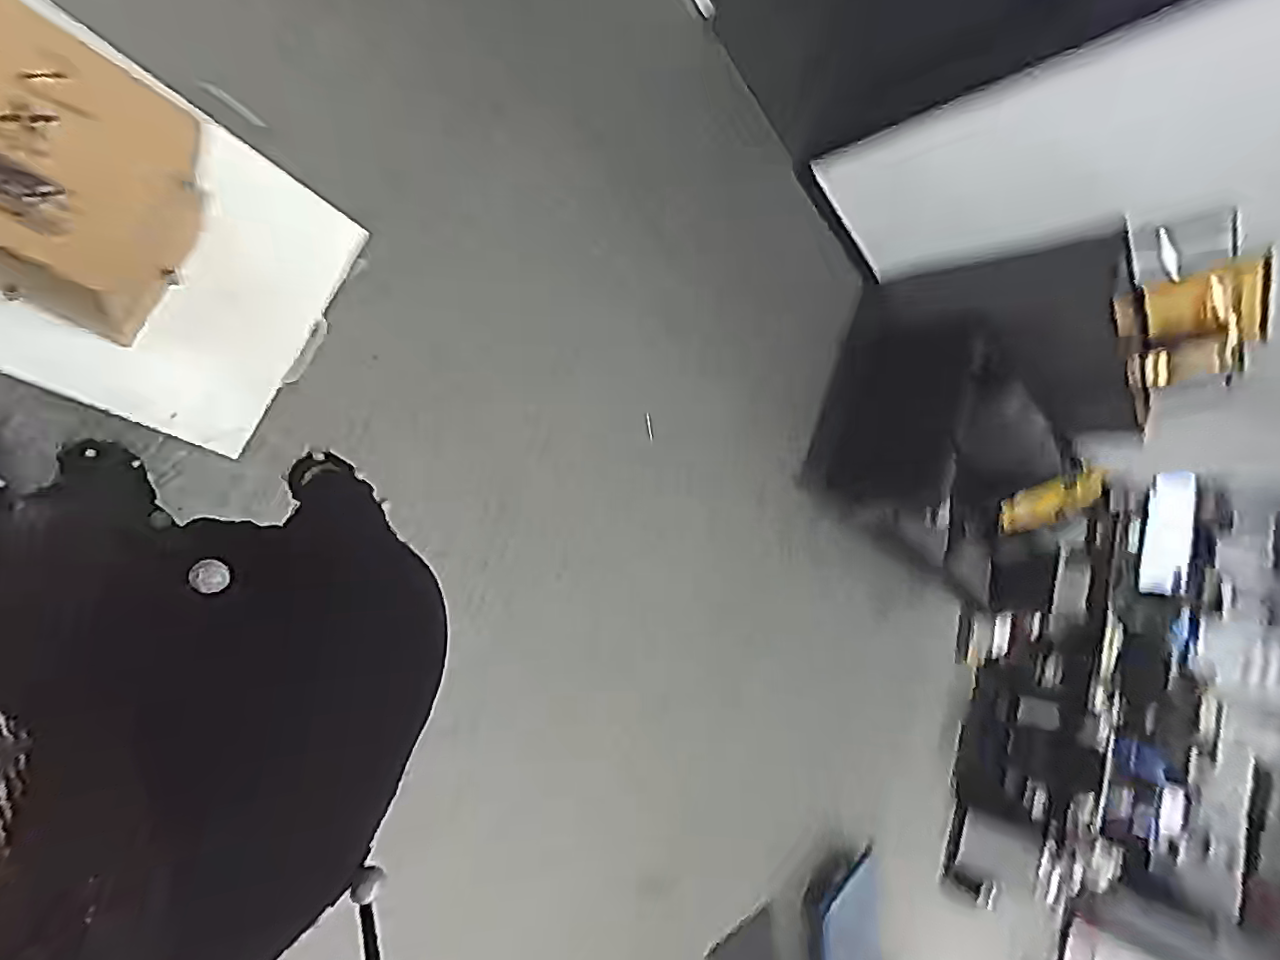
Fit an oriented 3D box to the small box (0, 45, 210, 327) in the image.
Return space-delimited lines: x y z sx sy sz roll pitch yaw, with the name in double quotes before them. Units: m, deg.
"small box" -0.602 -0.287 0.571 0.168 0.176 0.179 33 72 -39
